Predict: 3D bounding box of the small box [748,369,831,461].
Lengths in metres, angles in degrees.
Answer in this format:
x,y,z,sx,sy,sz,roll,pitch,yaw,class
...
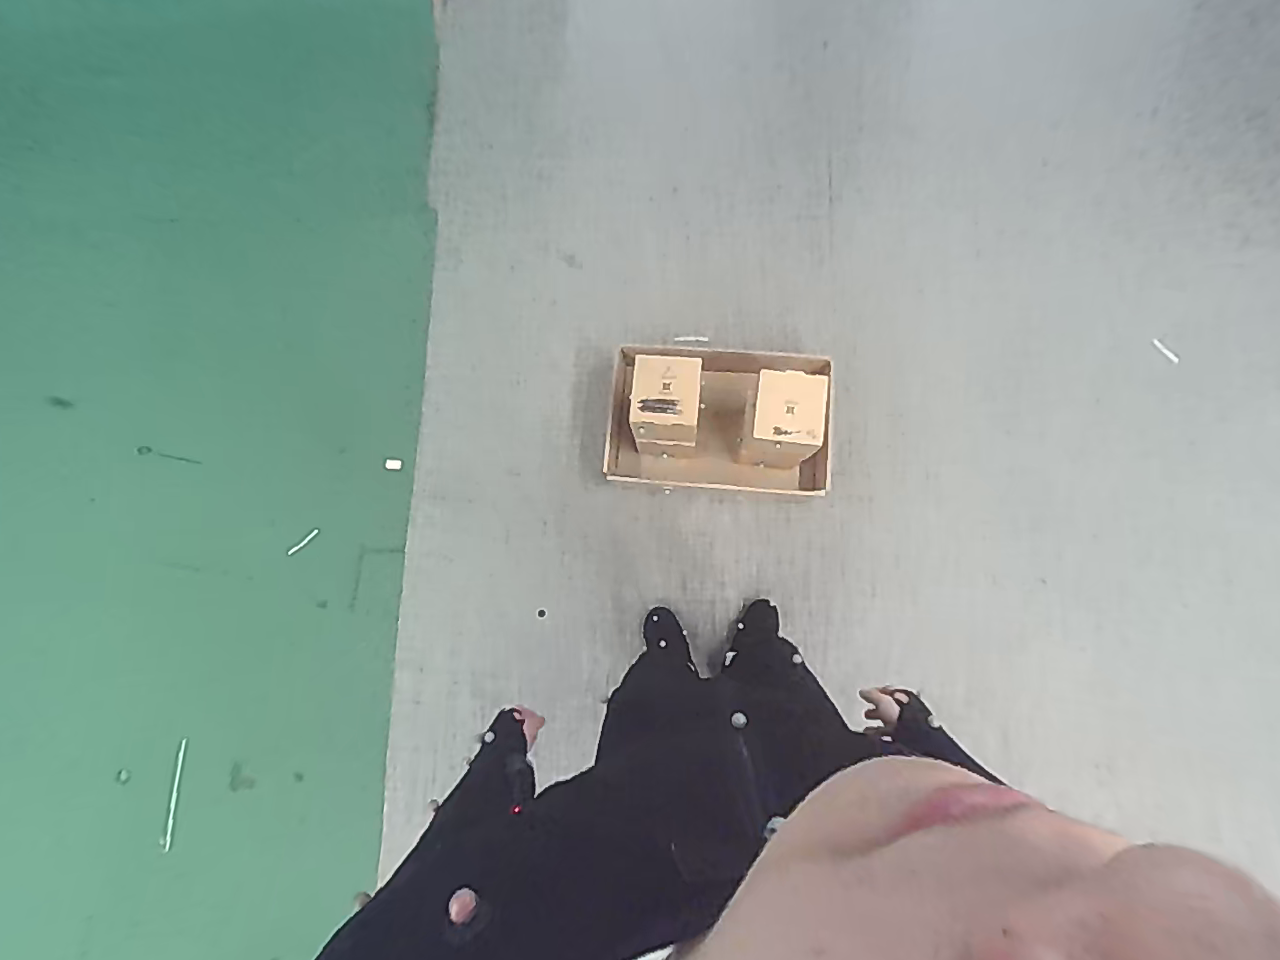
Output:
x,y,z,sx,sy,sz,roll,pitch,yaw,class
0.370,-0.158,1.361,0.168,0.176,0.179,8,80,6,small box

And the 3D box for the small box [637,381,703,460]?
x,y,z,sx,sy,sz,roll,pitch,yaw,class
0.087,-0.166,1.551,0.168,0.176,0.179,5,80,5,small box
